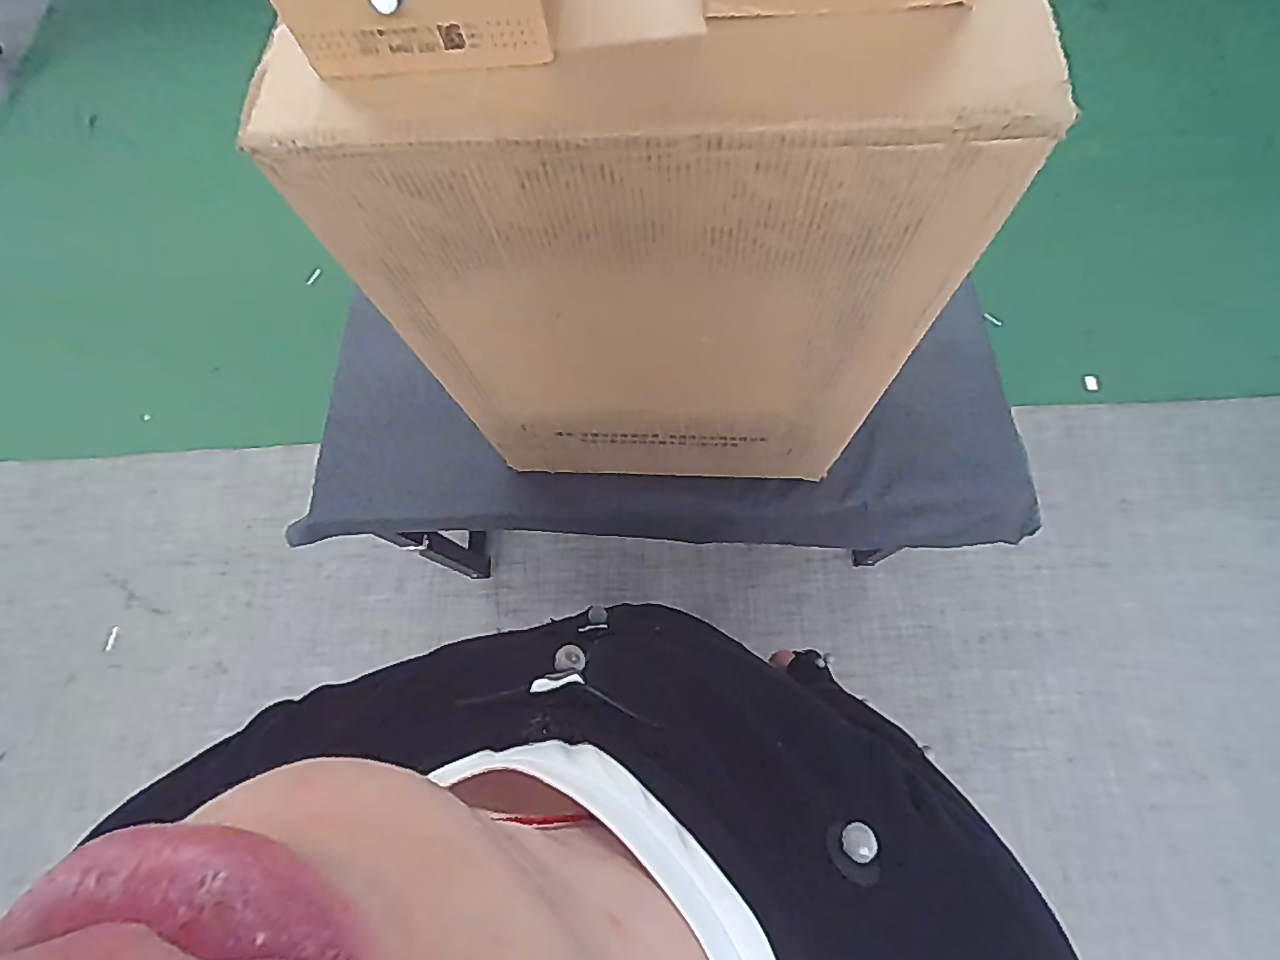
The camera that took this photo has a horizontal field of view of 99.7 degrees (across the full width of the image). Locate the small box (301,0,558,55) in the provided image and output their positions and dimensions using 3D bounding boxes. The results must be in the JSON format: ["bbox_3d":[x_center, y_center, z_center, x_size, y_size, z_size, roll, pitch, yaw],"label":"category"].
[{"bbox_3d":[-0.138,-0.387,0.304,0.168,0.176,0.179,1,74,5],"label":"small box"}]
